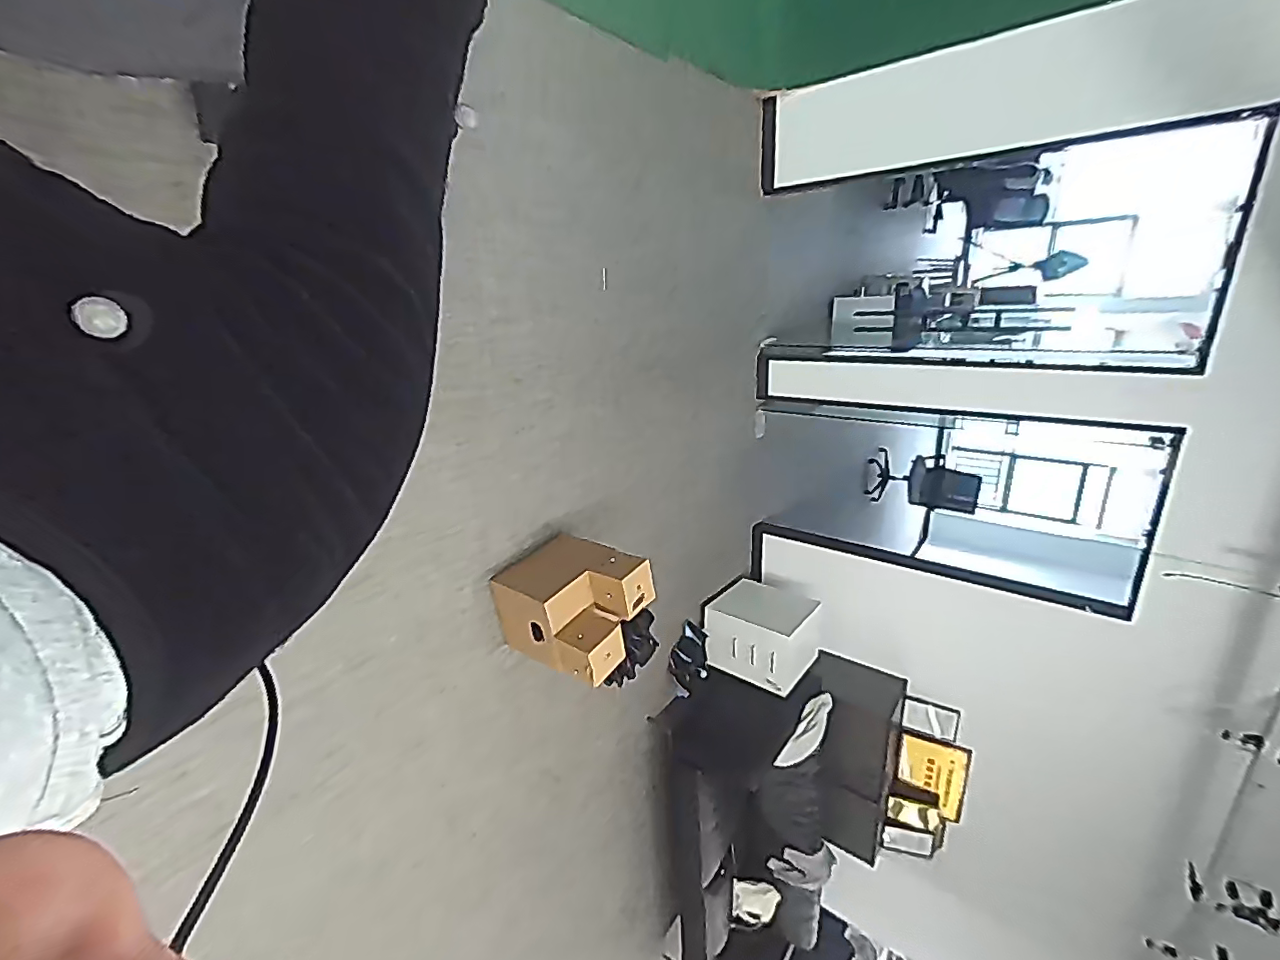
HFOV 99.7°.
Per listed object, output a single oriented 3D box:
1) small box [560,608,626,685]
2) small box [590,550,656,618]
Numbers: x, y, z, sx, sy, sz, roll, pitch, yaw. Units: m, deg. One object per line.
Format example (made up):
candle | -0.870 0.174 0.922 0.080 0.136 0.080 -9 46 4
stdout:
small box | -0.175 0.596 1.955 0.179 0.176 0.168 -38 131 -43
small box | -0.065 0.388 2.044 0.168 0.176 0.179 -32 120 -45
